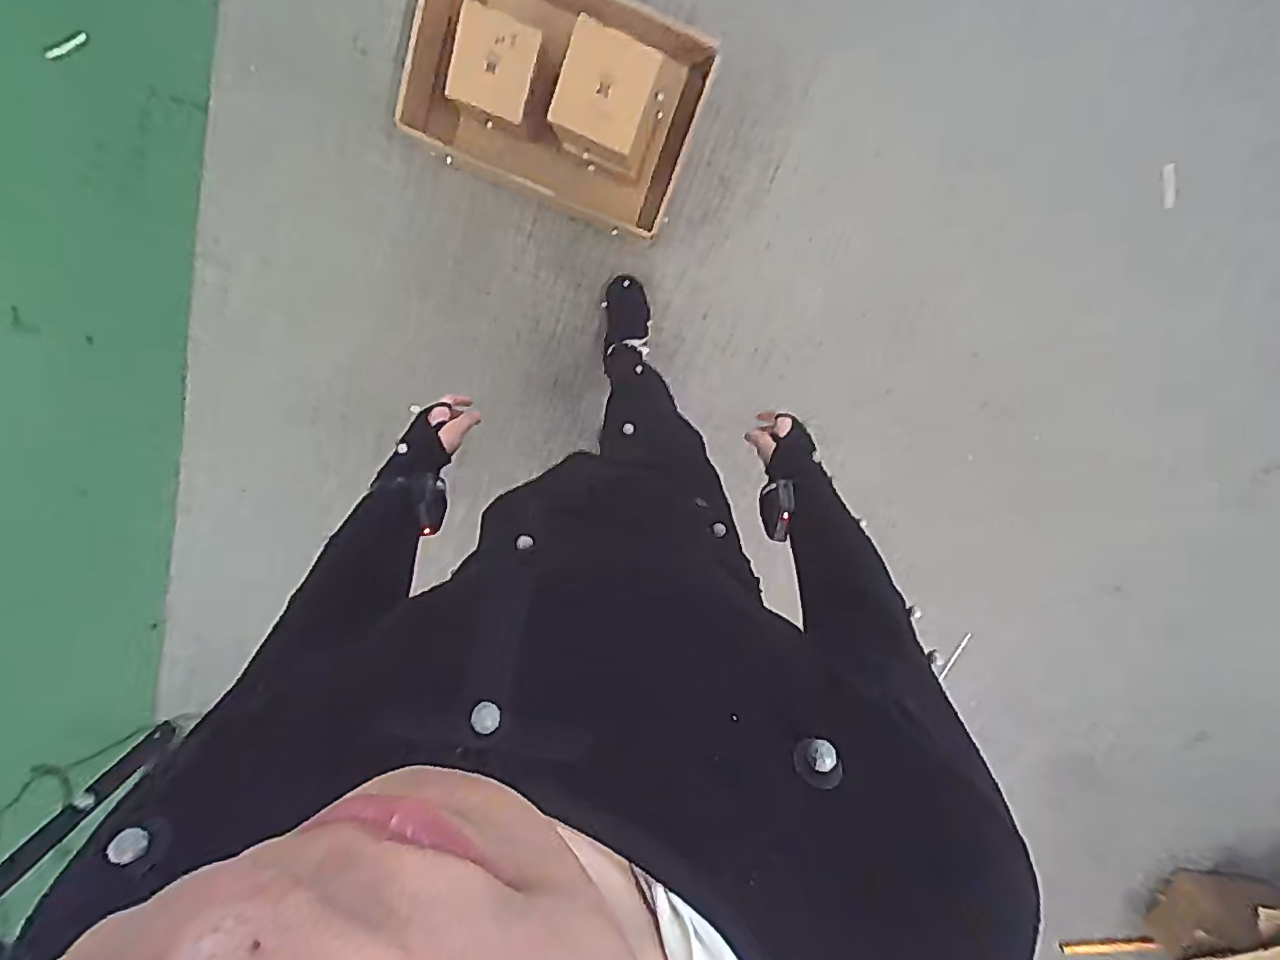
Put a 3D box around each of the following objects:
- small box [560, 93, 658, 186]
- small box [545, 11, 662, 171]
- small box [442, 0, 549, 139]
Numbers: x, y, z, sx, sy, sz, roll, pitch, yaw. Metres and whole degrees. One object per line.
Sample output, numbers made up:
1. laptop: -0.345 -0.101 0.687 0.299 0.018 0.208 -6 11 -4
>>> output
1. small box: -0.063 -0.786 1.207 0.168 0.176 0.179 20 108 -6
2. small box: -0.067 -0.738 1.051 0.168 0.176 0.179 22 108 -5
3. small box: -0.306 -0.878 1.176 0.168 0.176 0.179 19 108 -7
